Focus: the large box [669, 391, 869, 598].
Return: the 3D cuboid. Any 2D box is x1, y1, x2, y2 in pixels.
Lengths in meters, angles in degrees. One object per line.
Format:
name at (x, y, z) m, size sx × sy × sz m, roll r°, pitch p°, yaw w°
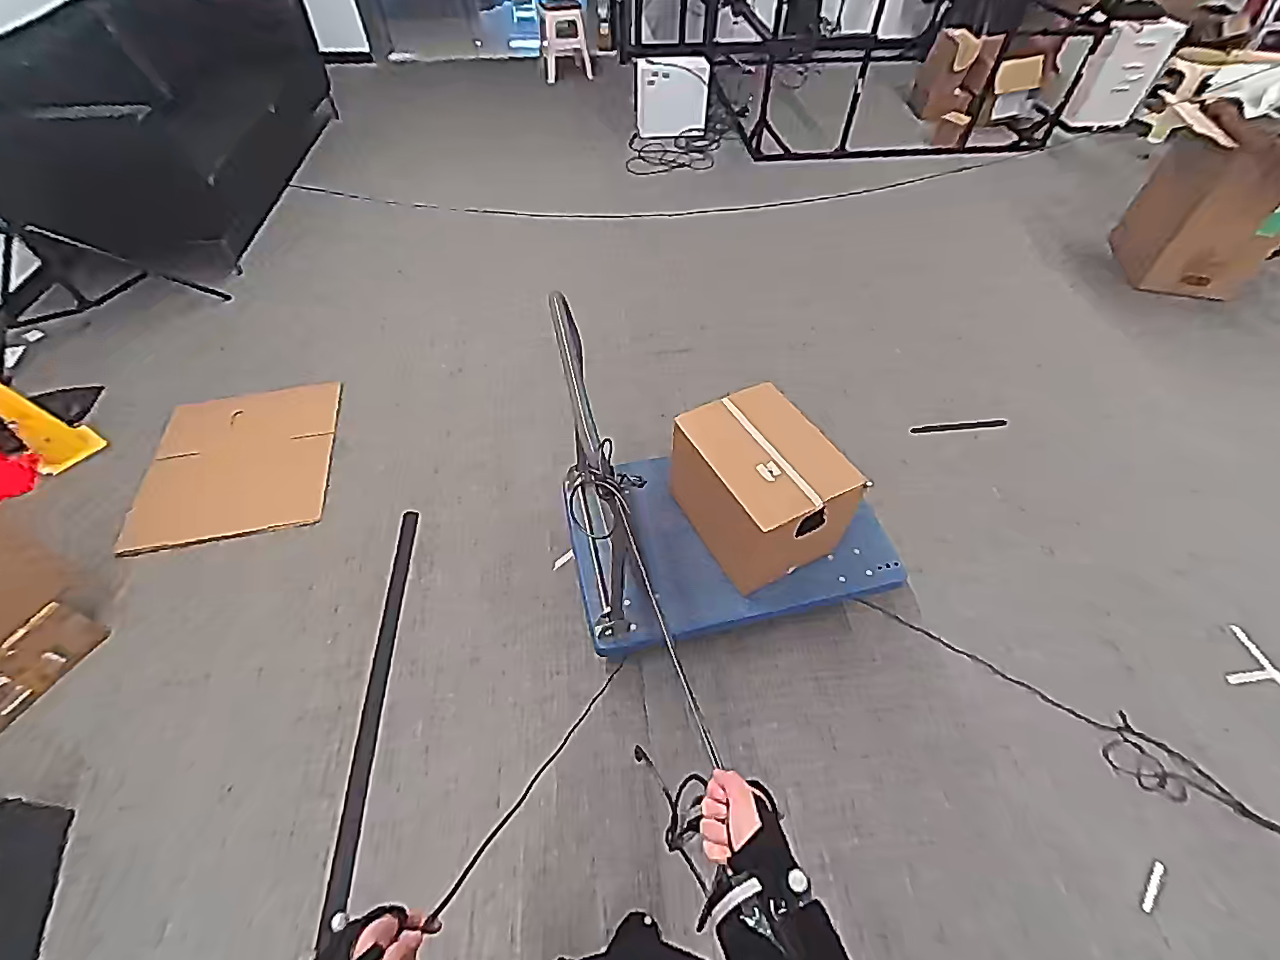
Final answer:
large box at (0.313, 0.033, 1.458) m, size 0.320 × 0.320 × 0.408 m, roll -23°, pitch 55°, yaw -17°
